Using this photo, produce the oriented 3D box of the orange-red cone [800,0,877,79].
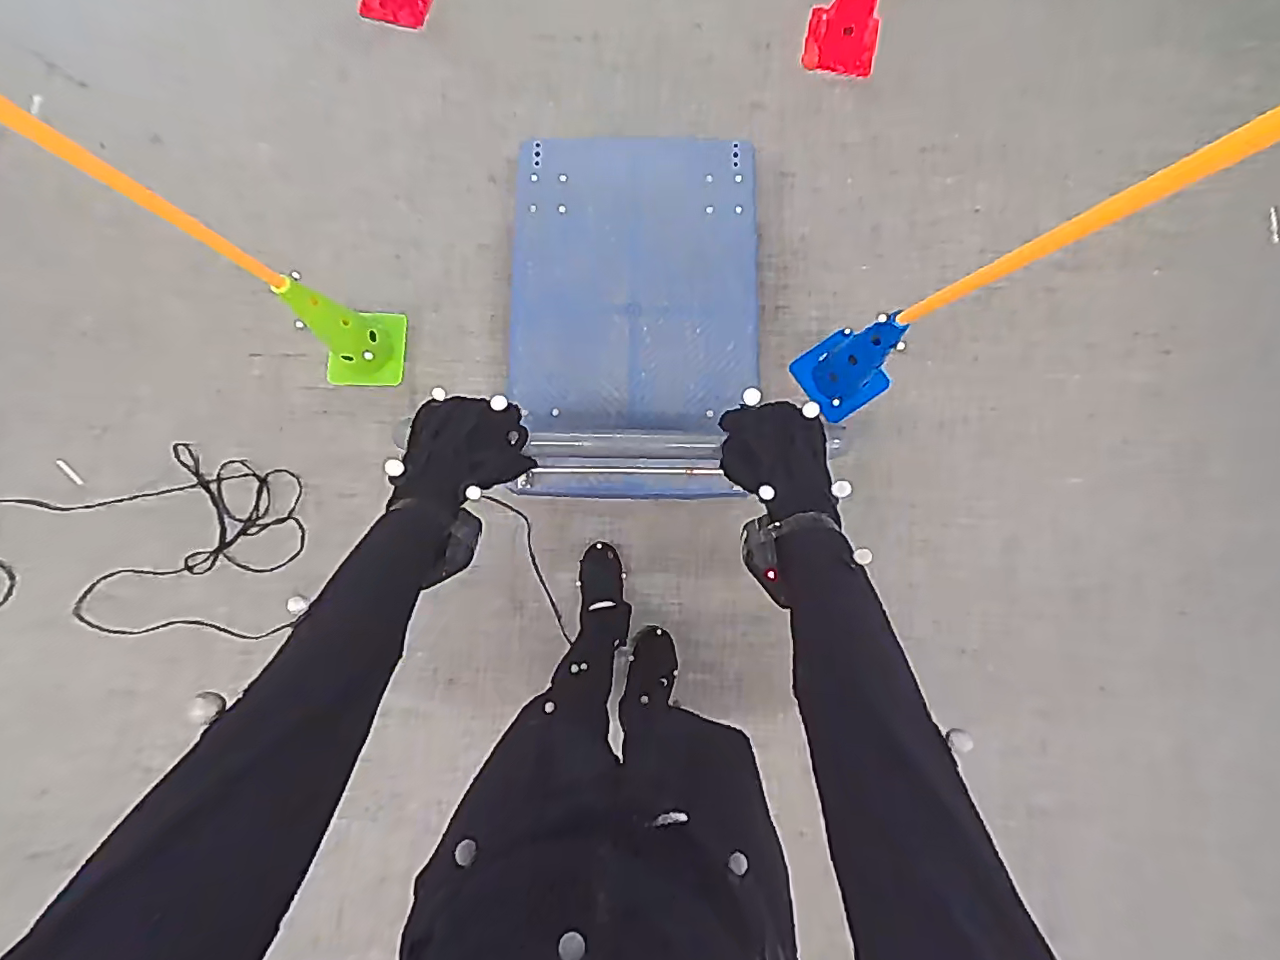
[{"bbox_3d":[0.563,-1.265,1.373,0.198,0.360,0.199,13,83,3],"label":"orange-red cone"}]
